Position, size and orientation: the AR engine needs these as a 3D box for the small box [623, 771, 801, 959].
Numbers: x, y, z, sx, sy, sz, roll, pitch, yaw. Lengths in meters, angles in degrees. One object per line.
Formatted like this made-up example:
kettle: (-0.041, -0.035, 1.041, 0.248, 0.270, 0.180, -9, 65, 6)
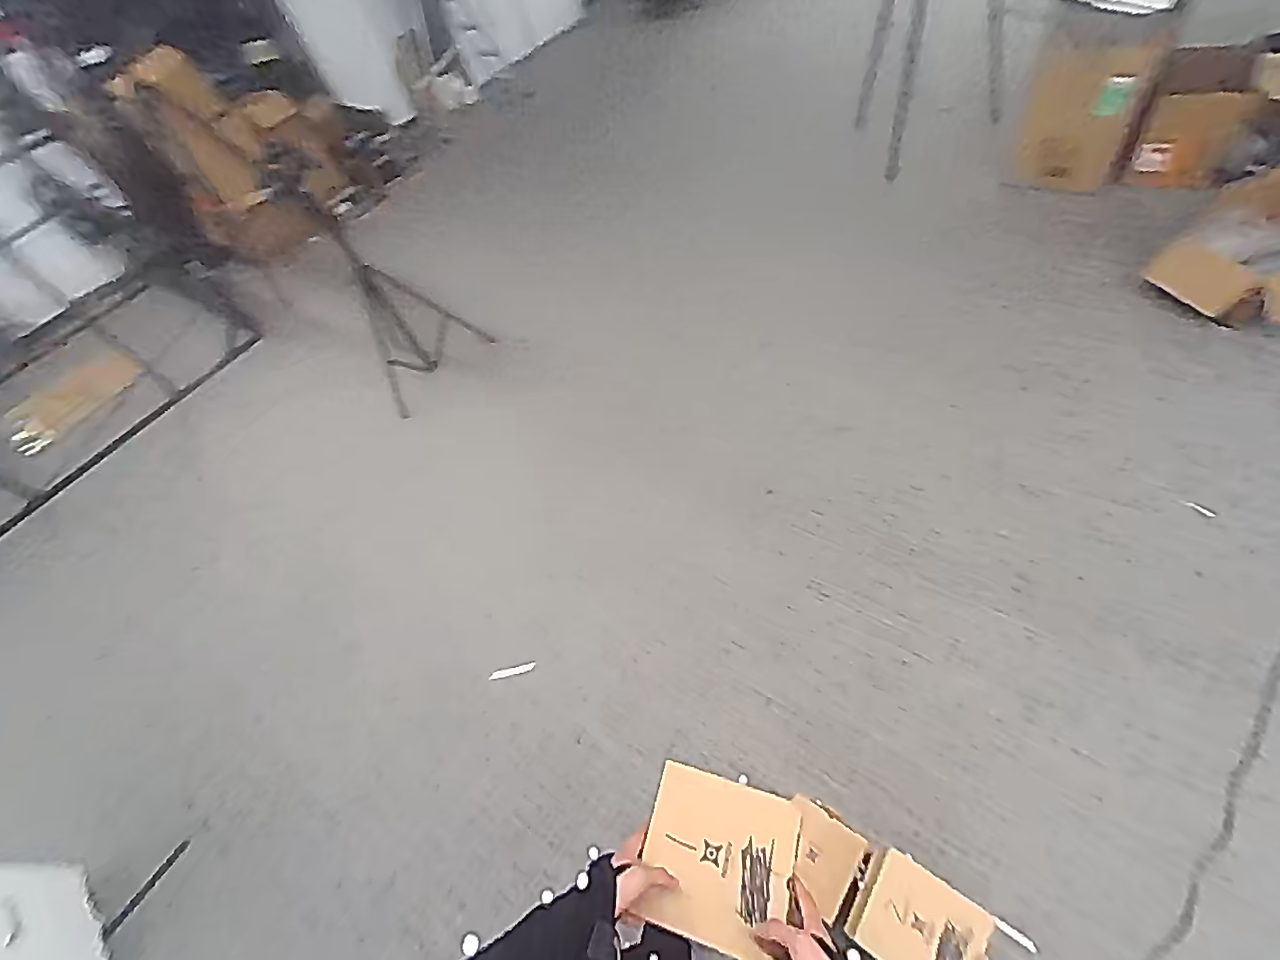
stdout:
small box: (0.095, 0.492, 0.689, 0.179, 0.176, 0.168, 10, 58, 16)
